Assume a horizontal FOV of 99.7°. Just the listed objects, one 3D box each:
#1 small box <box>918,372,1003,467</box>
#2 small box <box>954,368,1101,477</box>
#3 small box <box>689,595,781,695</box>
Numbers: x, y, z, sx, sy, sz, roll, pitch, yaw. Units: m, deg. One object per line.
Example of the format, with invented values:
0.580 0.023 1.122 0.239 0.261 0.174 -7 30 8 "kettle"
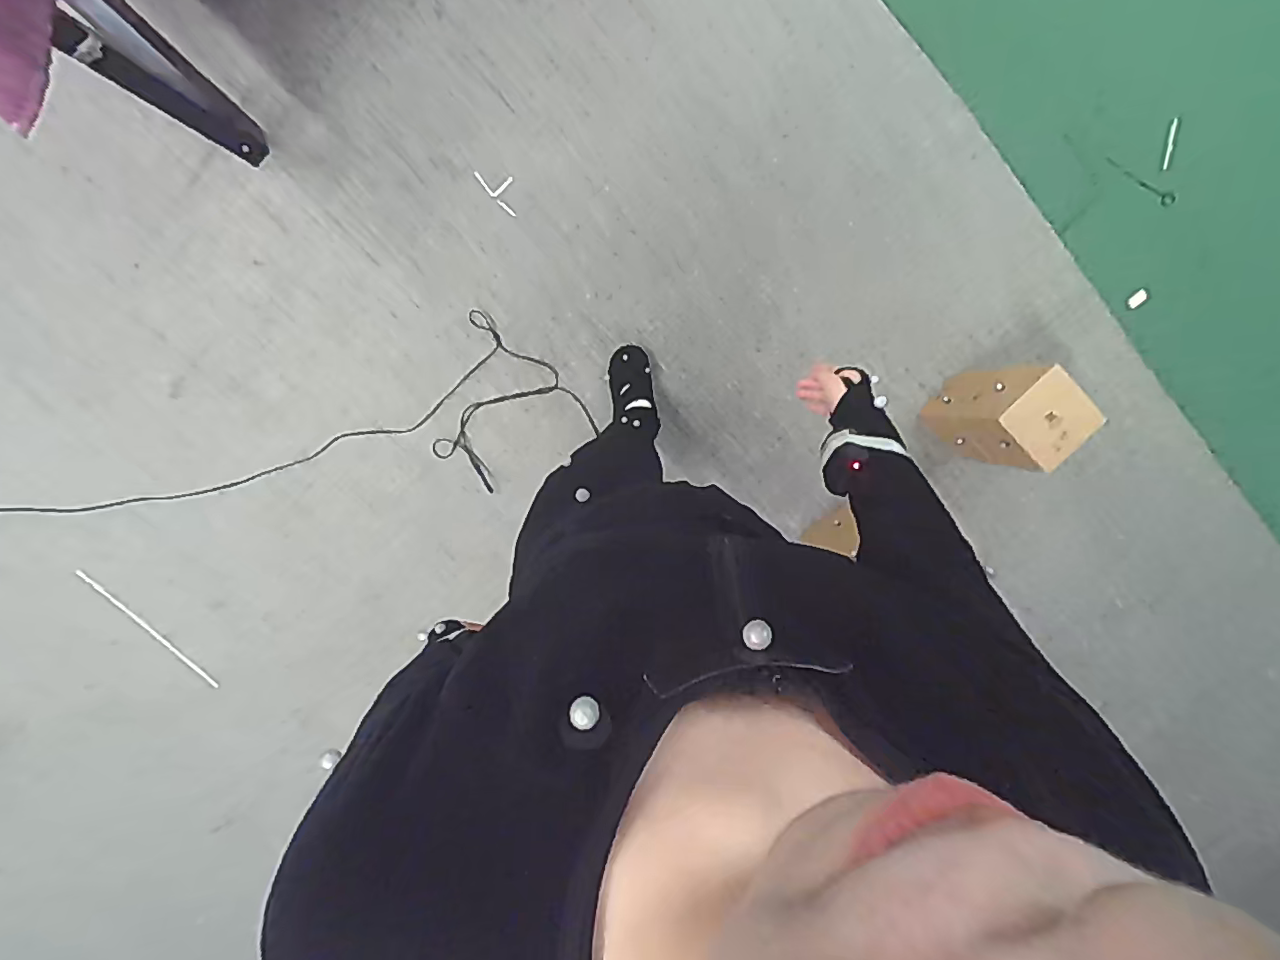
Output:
0.862 -0.156 1.388 0.168 0.176 0.179 -43 98 6 "small box"
0.863 -0.133 1.225 0.179 0.176 0.168 44 97 -7 "small box"
0.249 0.437 1.475 0.168 0.176 0.179 -40 97 6 "small box"
